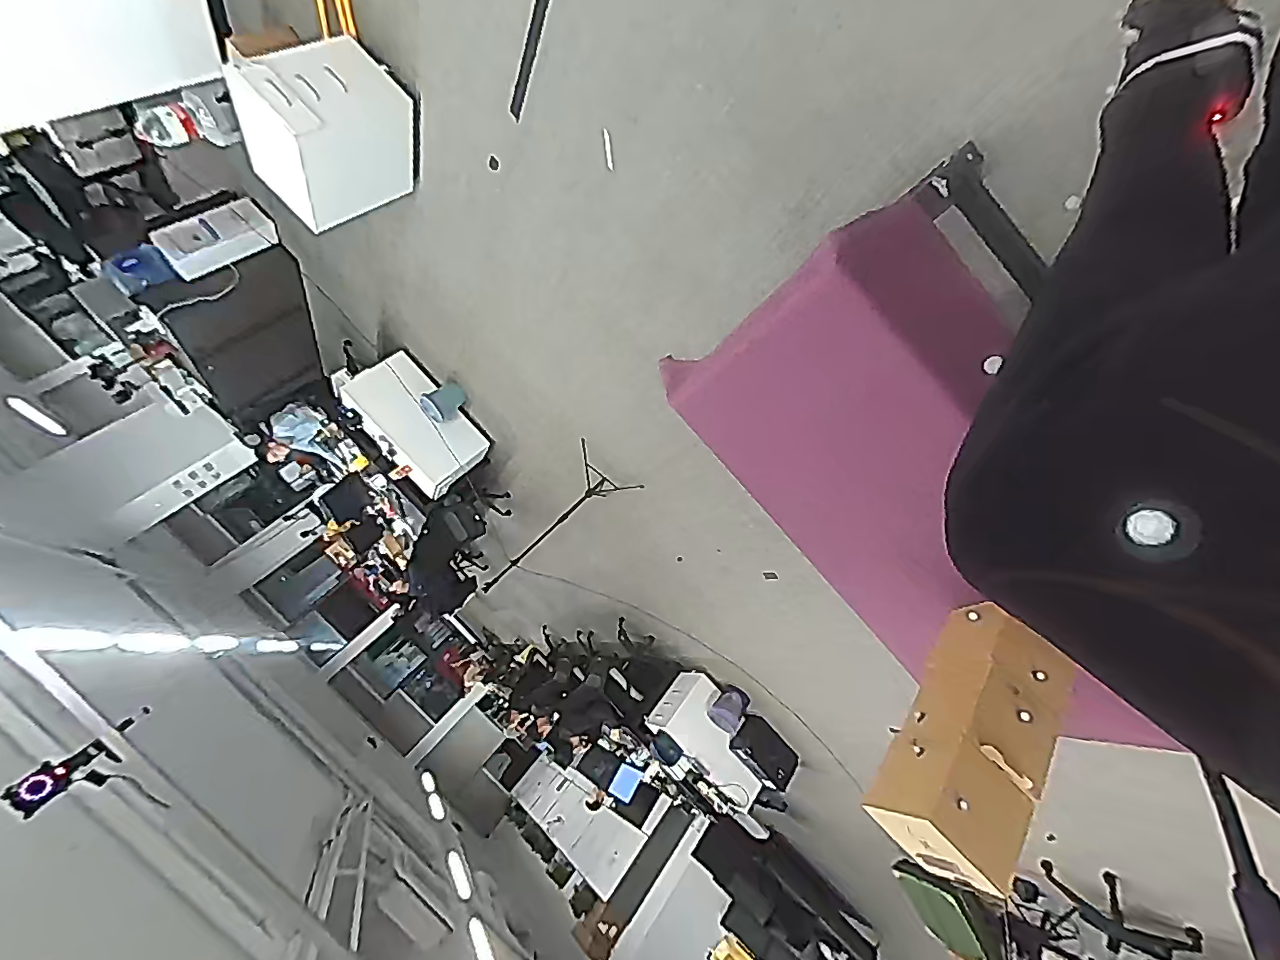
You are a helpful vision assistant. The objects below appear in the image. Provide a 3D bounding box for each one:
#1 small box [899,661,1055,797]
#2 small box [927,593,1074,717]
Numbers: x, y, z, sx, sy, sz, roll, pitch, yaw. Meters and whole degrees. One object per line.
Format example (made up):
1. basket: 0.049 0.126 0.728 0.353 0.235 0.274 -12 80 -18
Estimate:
1. small box: 0.655 0.477 1.053 0.168 0.176 0.179 42 151 4
2. small box: 0.753 0.367 1.128 0.179 0.176 0.168 43 151 4
